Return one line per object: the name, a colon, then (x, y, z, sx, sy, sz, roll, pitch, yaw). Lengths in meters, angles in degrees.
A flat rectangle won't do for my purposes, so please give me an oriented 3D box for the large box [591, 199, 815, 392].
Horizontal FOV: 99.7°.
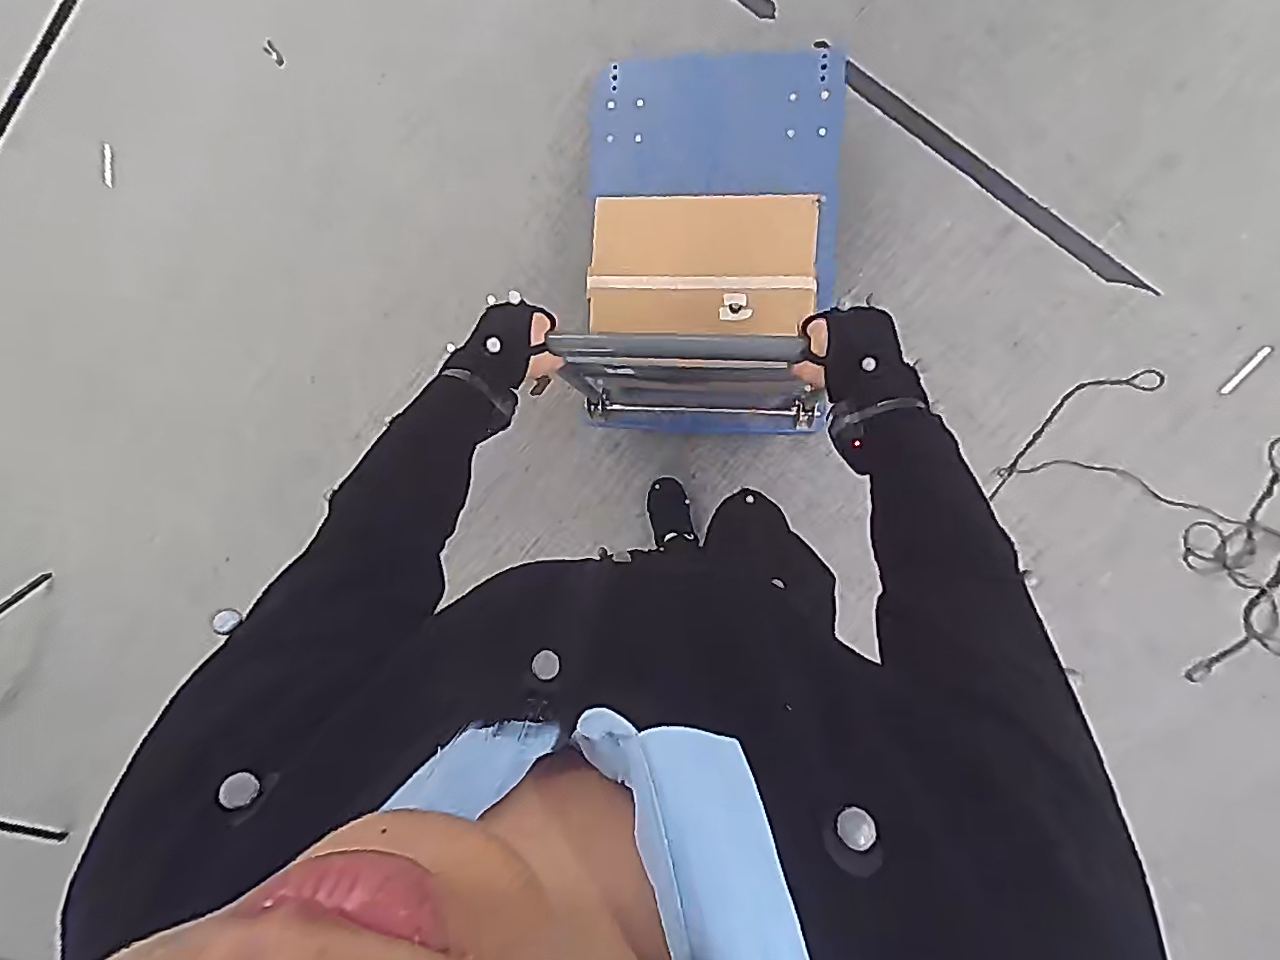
large box: (0.124, -0.359, 1.134, 0.408, 0.320, 0.320, 3, 93, 7)
